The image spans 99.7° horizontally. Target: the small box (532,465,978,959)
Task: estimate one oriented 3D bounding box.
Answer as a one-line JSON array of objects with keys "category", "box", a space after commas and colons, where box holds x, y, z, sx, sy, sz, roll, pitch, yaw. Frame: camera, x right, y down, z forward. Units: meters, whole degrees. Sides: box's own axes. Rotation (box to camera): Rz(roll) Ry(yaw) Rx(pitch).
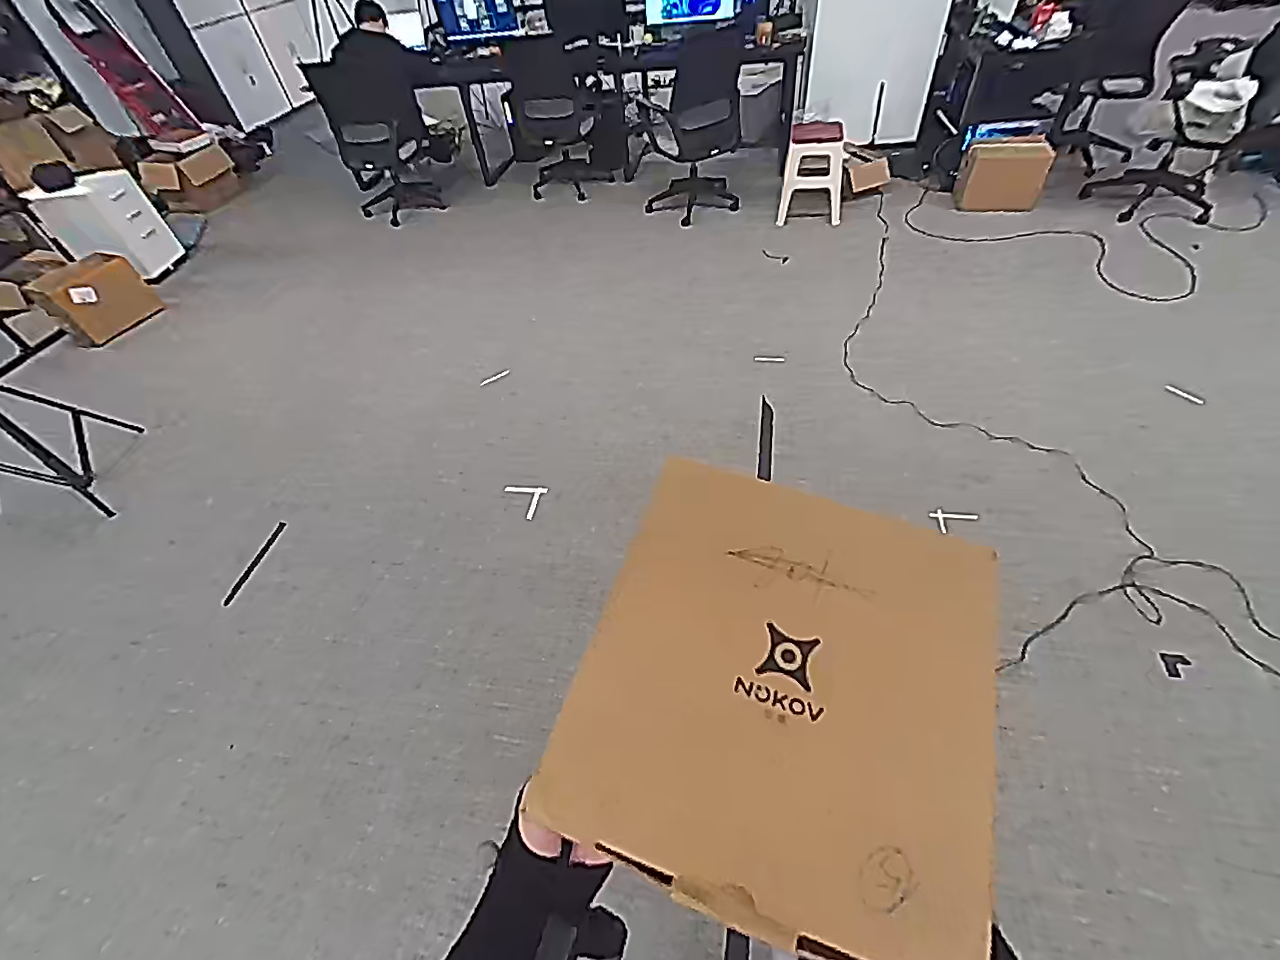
[{"category": "small box", "box": [0.062, 0.126, 0.308, 0.168, 0.176, 0.179, 17, 58, 11]}]
